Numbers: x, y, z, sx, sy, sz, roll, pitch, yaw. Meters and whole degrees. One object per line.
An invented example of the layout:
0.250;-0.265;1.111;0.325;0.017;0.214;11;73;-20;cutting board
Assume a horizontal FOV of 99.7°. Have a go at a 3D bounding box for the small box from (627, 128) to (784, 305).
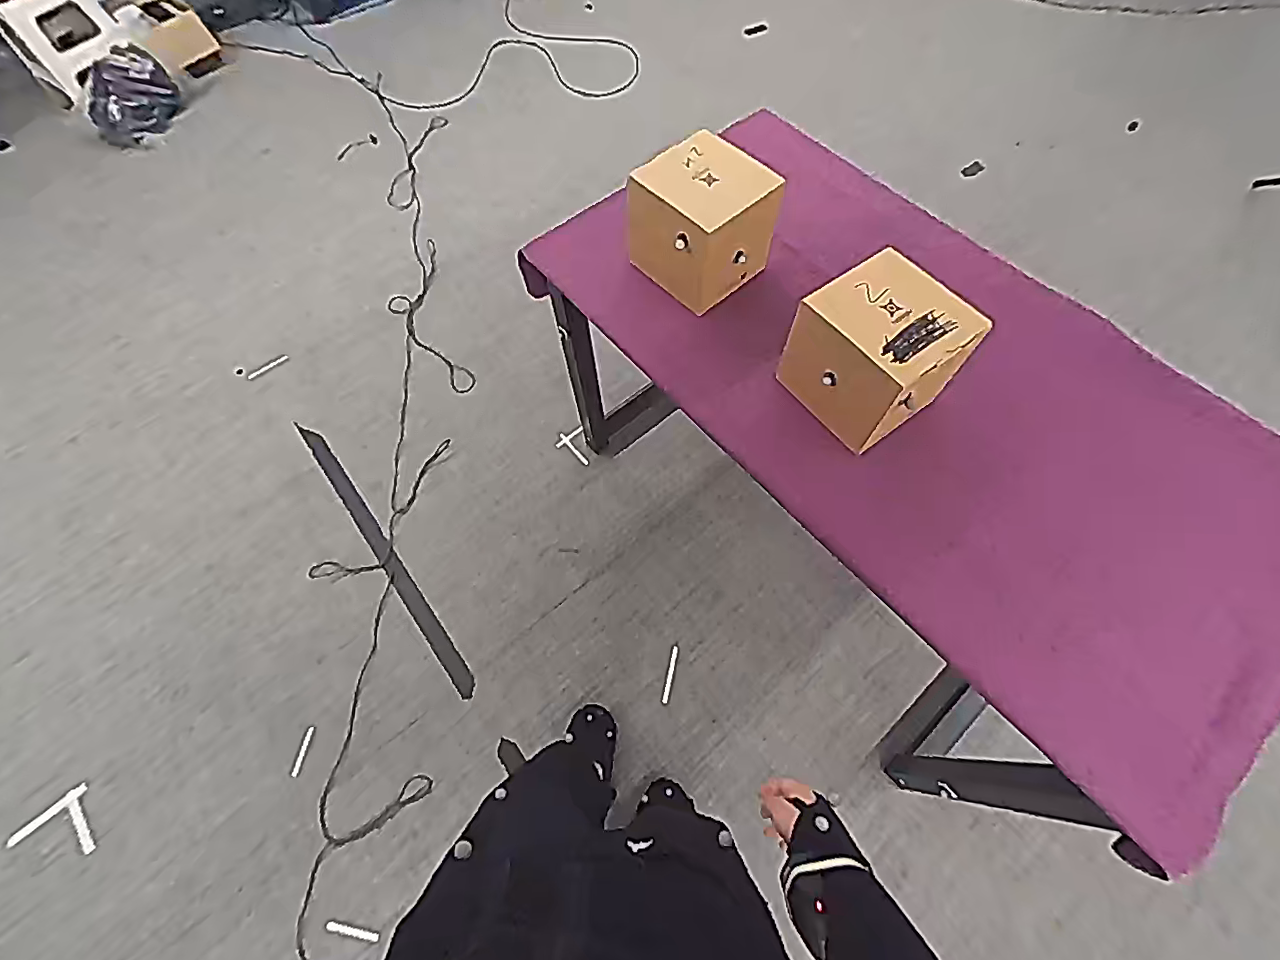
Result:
0.098;-0.413;0.872;0.168;0.176;0.179;-39;70;-17;small box
